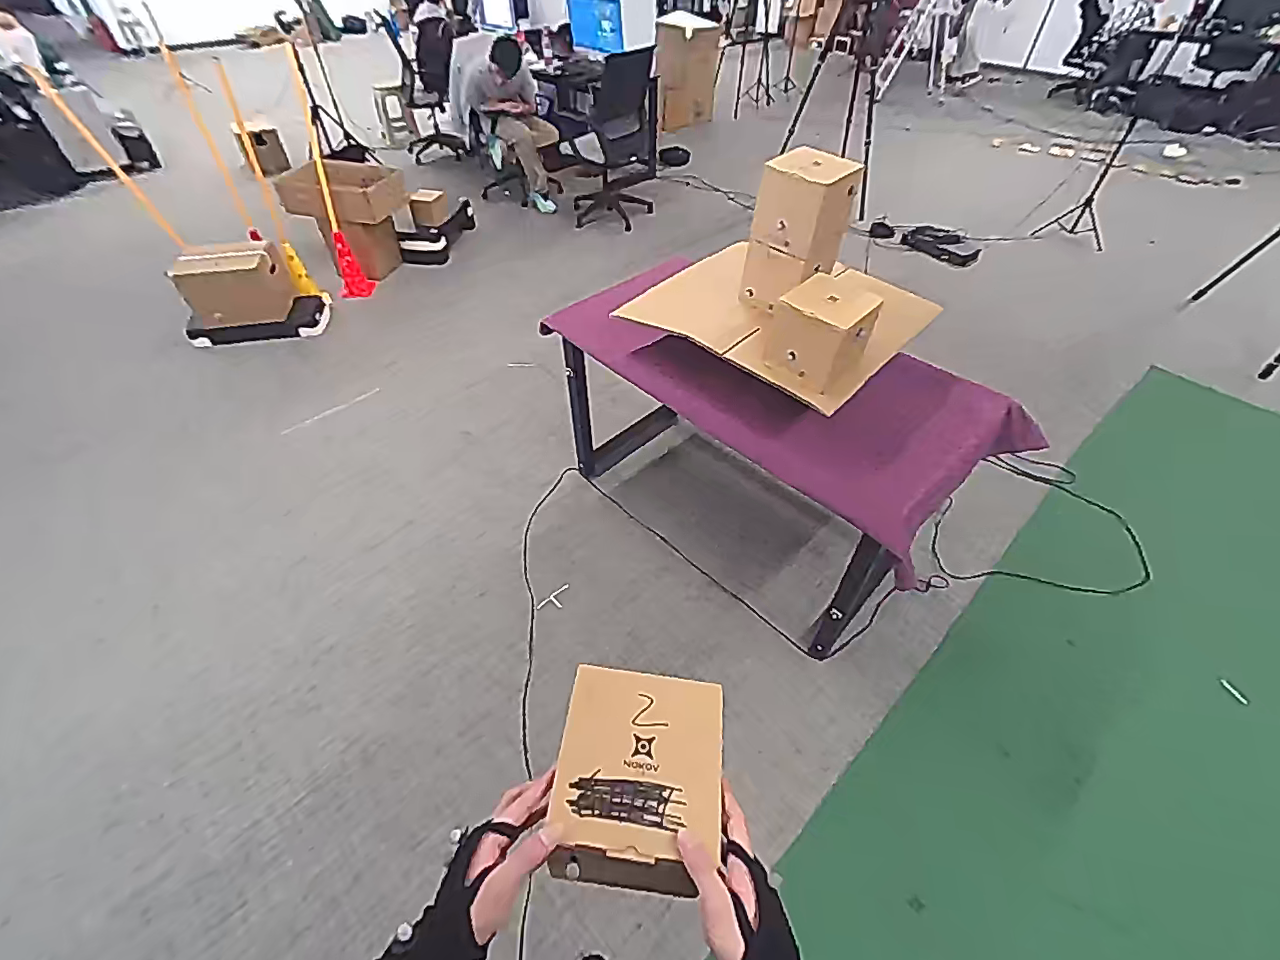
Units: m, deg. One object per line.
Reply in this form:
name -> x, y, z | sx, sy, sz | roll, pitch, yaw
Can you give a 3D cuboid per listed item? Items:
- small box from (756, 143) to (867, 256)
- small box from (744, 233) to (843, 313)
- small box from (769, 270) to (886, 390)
small box -> 0.392, -0.657, 1.269 | 0.168, 0.176, 0.179 | 36, 58, 26
small box -> 0.386, -0.548, 1.391 | 0.168, 0.176, 0.179 | 37, 57, 25
small box -> 0.410, -0.335, 1.211 | 0.168, 0.176, 0.179 | 36, 58, 26
